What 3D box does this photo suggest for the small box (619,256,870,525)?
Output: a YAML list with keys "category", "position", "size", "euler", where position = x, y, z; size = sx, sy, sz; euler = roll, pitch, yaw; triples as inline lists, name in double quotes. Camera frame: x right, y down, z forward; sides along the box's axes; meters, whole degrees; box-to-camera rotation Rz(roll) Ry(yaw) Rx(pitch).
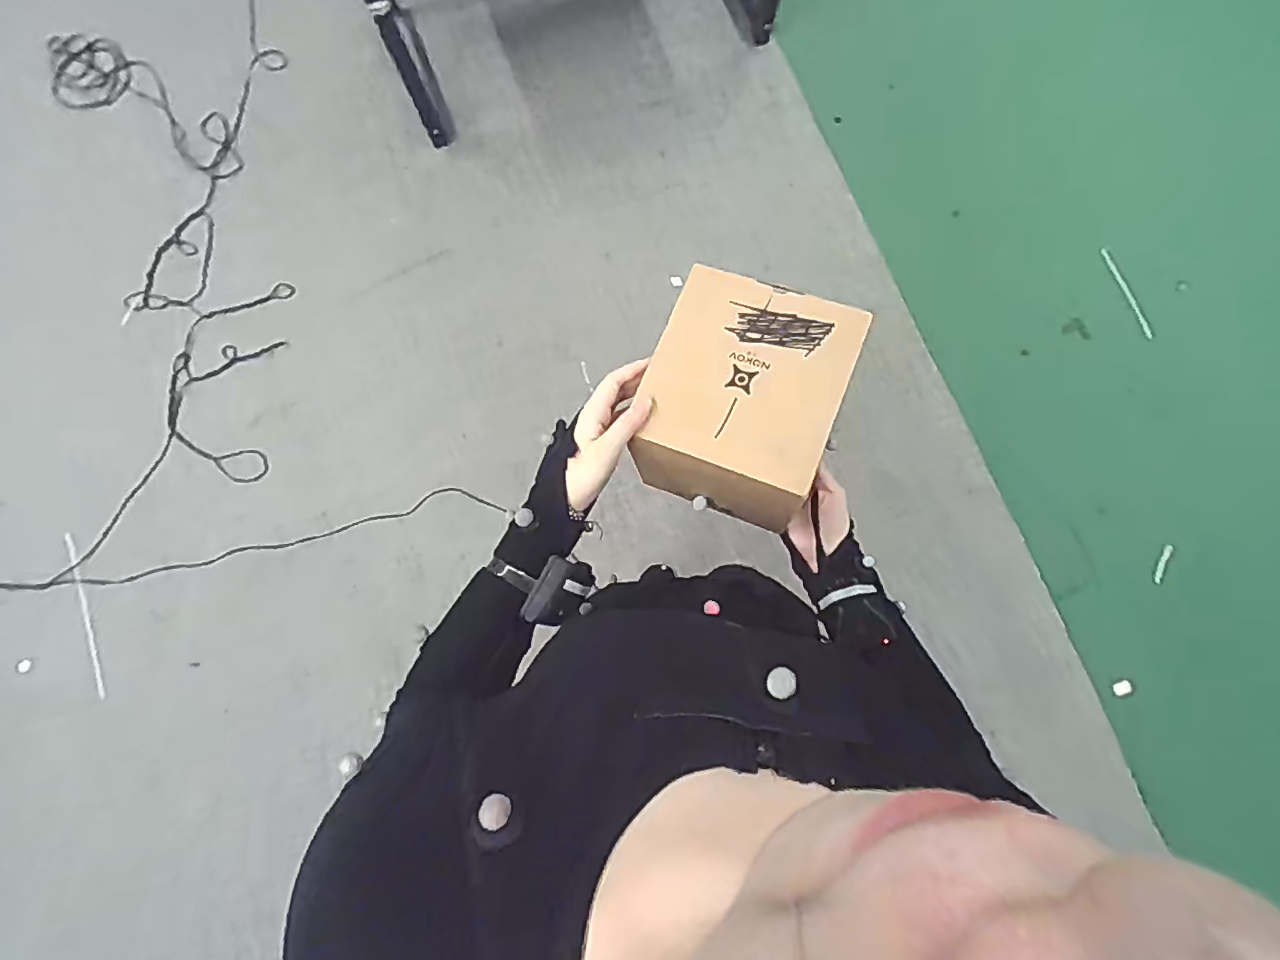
- category: "small box"
  position: [0.097, -0.075, 0.527]
  size: [0.168, 0.176, 0.179]
  euler: [20, 78, 13]
